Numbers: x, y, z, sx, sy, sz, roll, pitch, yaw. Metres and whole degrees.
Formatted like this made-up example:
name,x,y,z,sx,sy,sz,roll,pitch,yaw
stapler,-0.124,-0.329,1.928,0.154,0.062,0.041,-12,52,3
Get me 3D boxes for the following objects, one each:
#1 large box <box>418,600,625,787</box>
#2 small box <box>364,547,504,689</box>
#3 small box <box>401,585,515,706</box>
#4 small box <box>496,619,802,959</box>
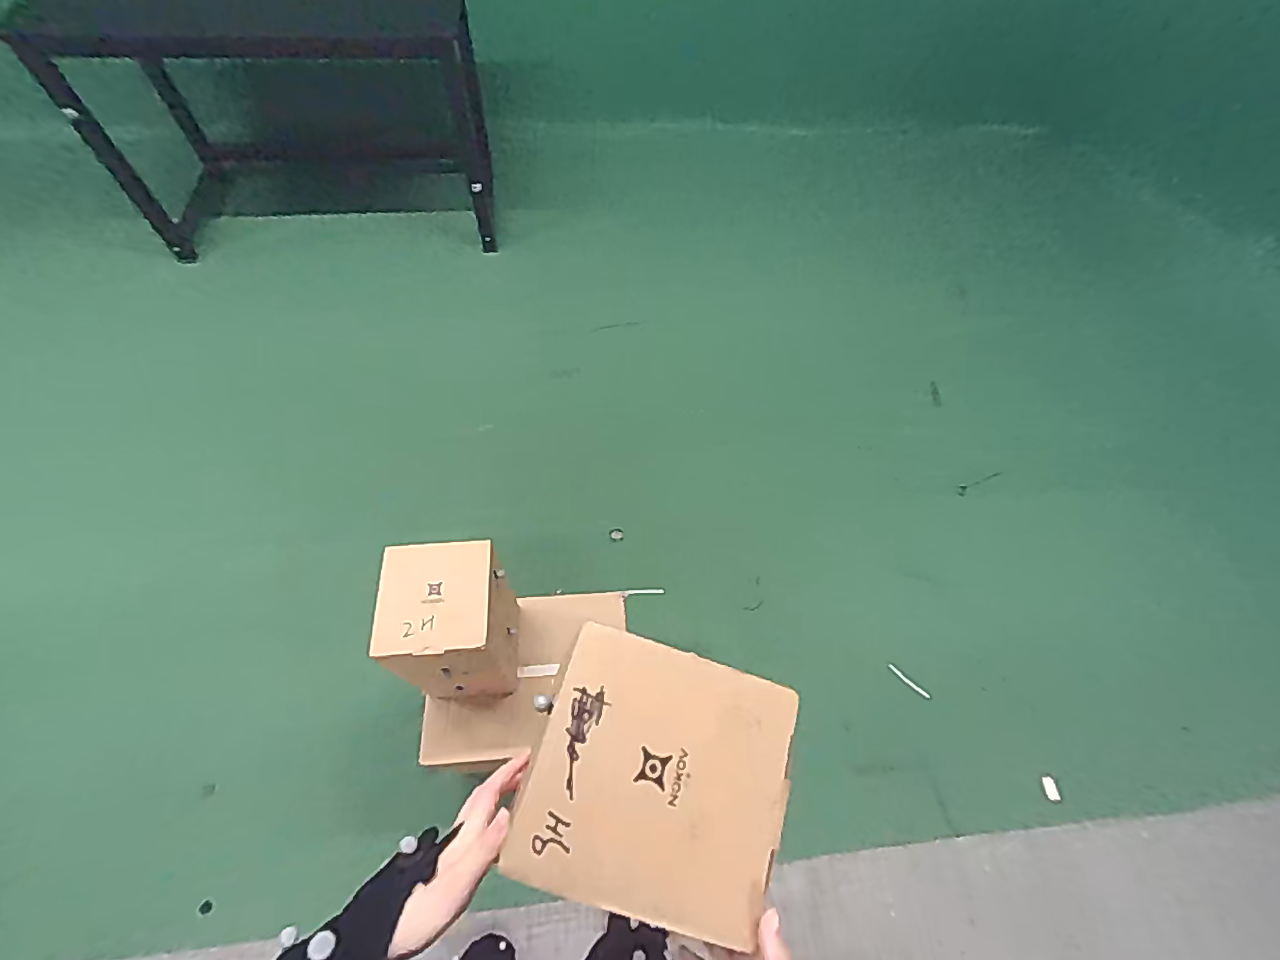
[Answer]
name,x,y,z,sx,sy,sz,roll,pitch,yaw
large box,-0.232,0.480,1.202,0.408,0.320,0.320,-2,59,-6
small box,-0.318,0.226,0.875,0.168,0.176,0.179,-3,58,-5
small box,-0.330,0.312,1.015,0.168,0.176,0.179,-2,58,-5
small box,0.001,0.230,0.434,0.179,0.176,0.168,21,63,-3
